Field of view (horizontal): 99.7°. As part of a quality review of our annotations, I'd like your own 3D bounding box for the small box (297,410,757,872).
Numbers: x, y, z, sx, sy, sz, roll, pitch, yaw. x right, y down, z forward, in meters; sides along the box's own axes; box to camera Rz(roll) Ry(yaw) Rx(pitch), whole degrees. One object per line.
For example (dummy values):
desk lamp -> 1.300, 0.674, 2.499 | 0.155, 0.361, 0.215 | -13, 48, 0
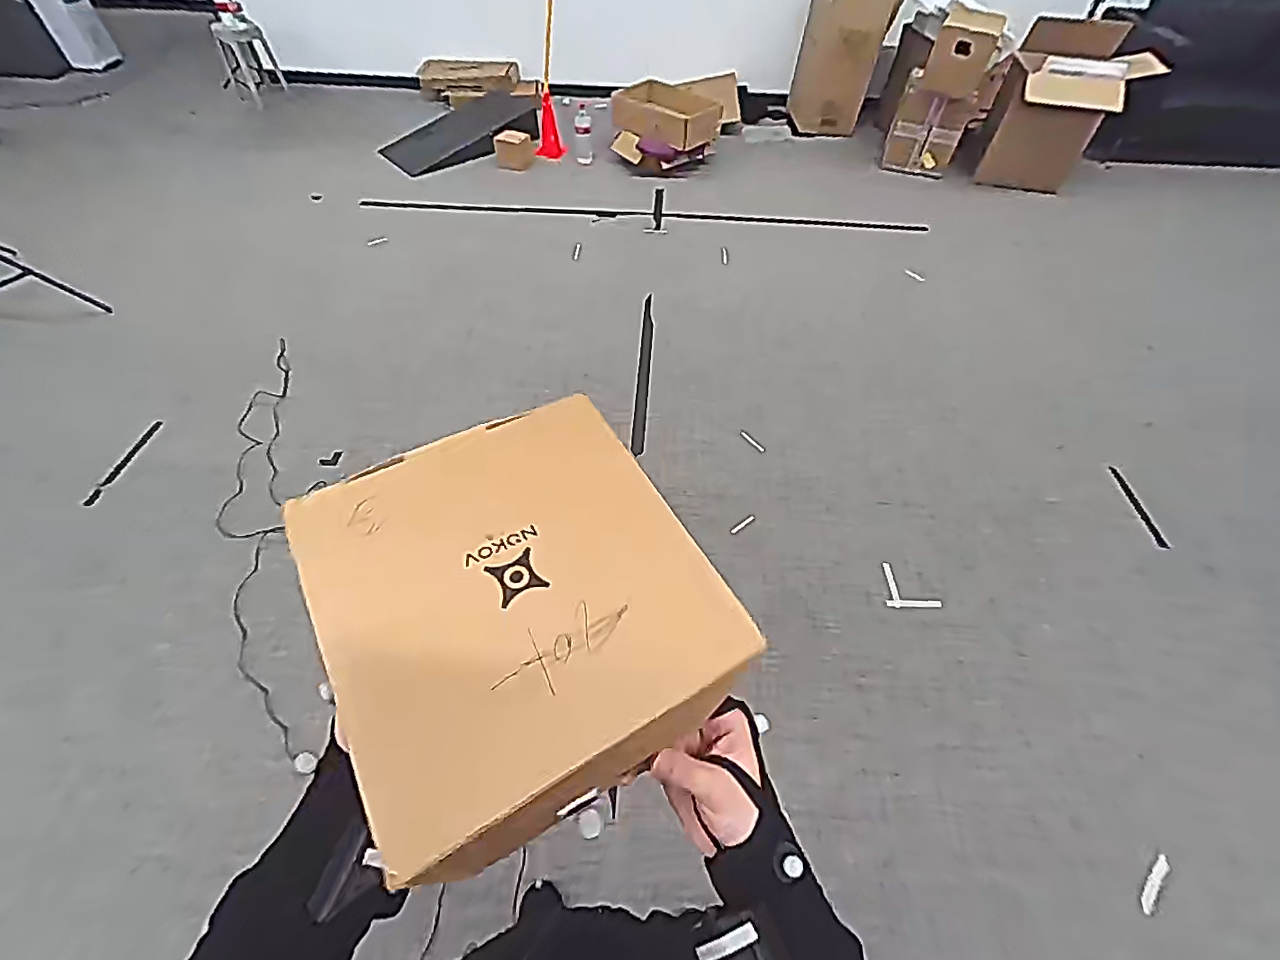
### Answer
small box -> -0.063, 0.096, 0.324 | 0.168, 0.176, 0.179 | -27, 61, -21
